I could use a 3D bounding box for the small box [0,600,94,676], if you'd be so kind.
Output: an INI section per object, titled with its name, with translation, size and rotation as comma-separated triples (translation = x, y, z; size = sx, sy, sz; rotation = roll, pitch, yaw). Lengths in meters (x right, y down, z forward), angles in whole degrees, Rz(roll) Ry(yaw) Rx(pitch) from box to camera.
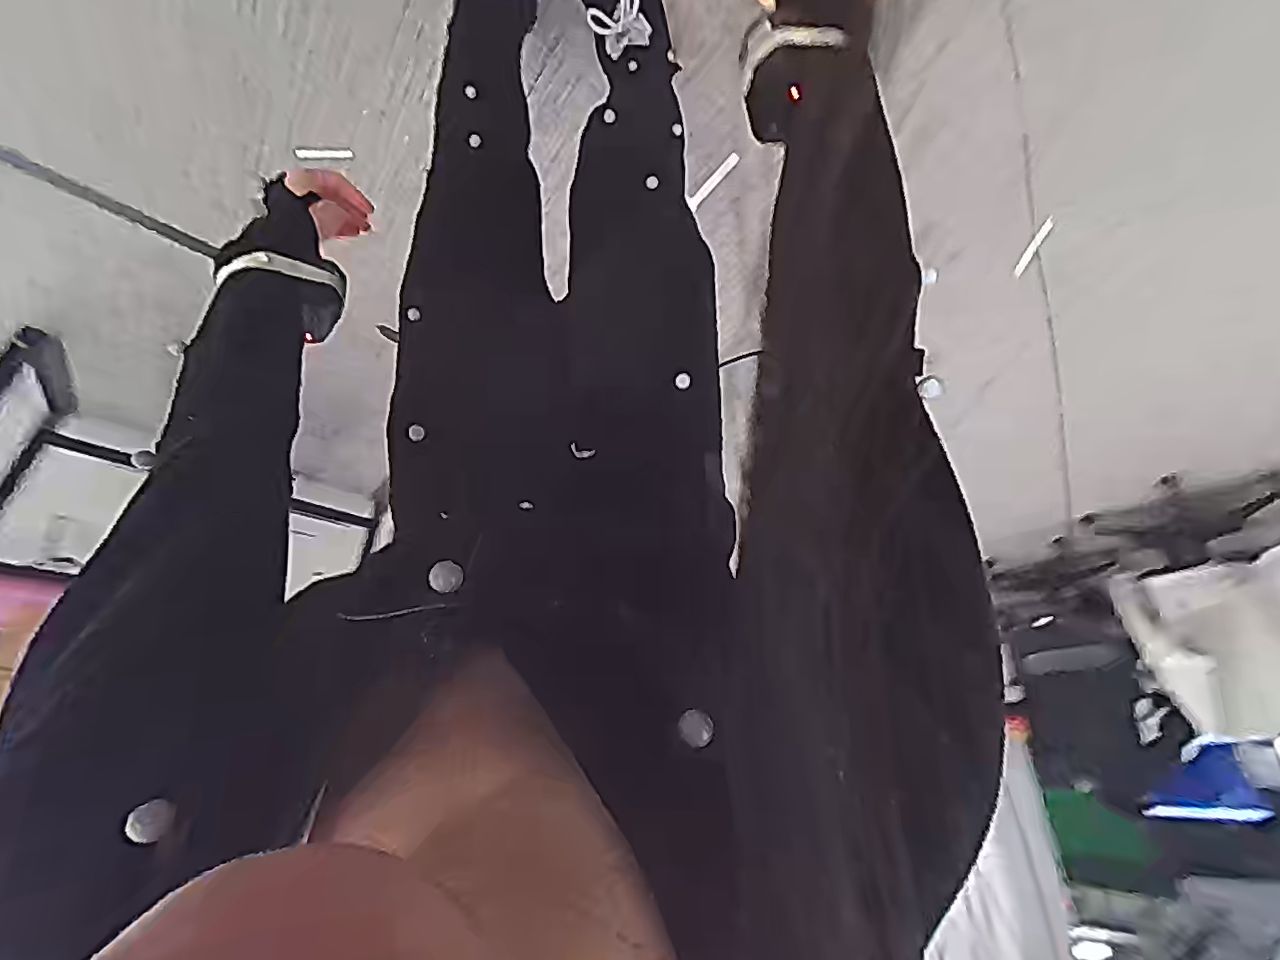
[small box]
translation = -1.700, 0.451, 1.532
size = 0.179, 0.176, 0.168
rotation = -24, 143, 39
